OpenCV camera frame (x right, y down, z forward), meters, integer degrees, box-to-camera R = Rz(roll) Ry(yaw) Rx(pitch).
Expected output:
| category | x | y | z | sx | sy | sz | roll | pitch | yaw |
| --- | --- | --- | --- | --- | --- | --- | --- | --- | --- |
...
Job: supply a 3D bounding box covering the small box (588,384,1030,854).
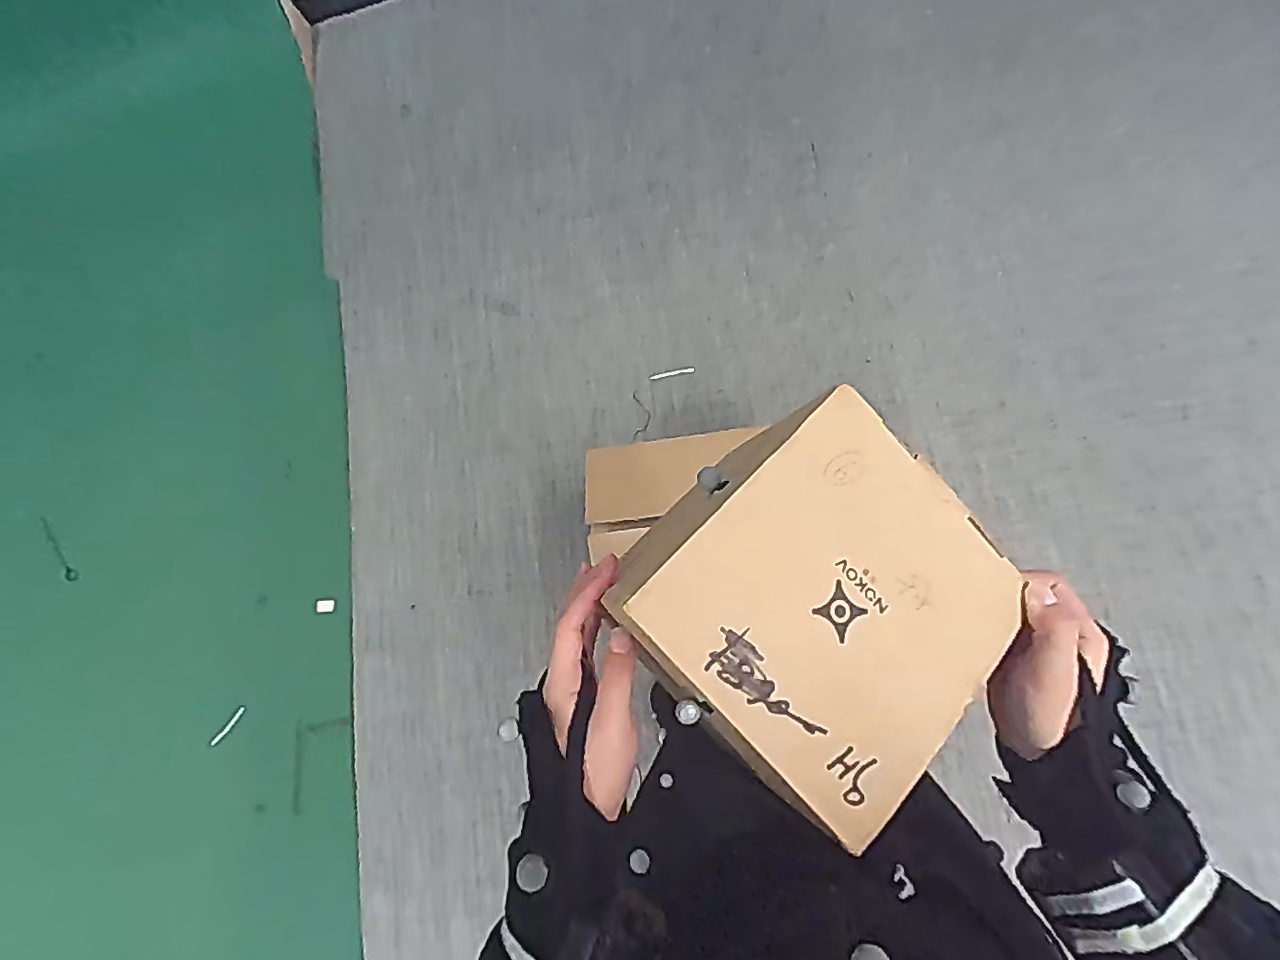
| category | x | y | z | sx | sy | sz | roll | pitch | yaw |
| --- | --- | --- | --- | --- | --- | --- | --- | --- | --- |
| small box | 0.086 | 0.074 | 0.350 | 0.179 | 0.176 | 0.168 | -42 | 91 | -17 |
